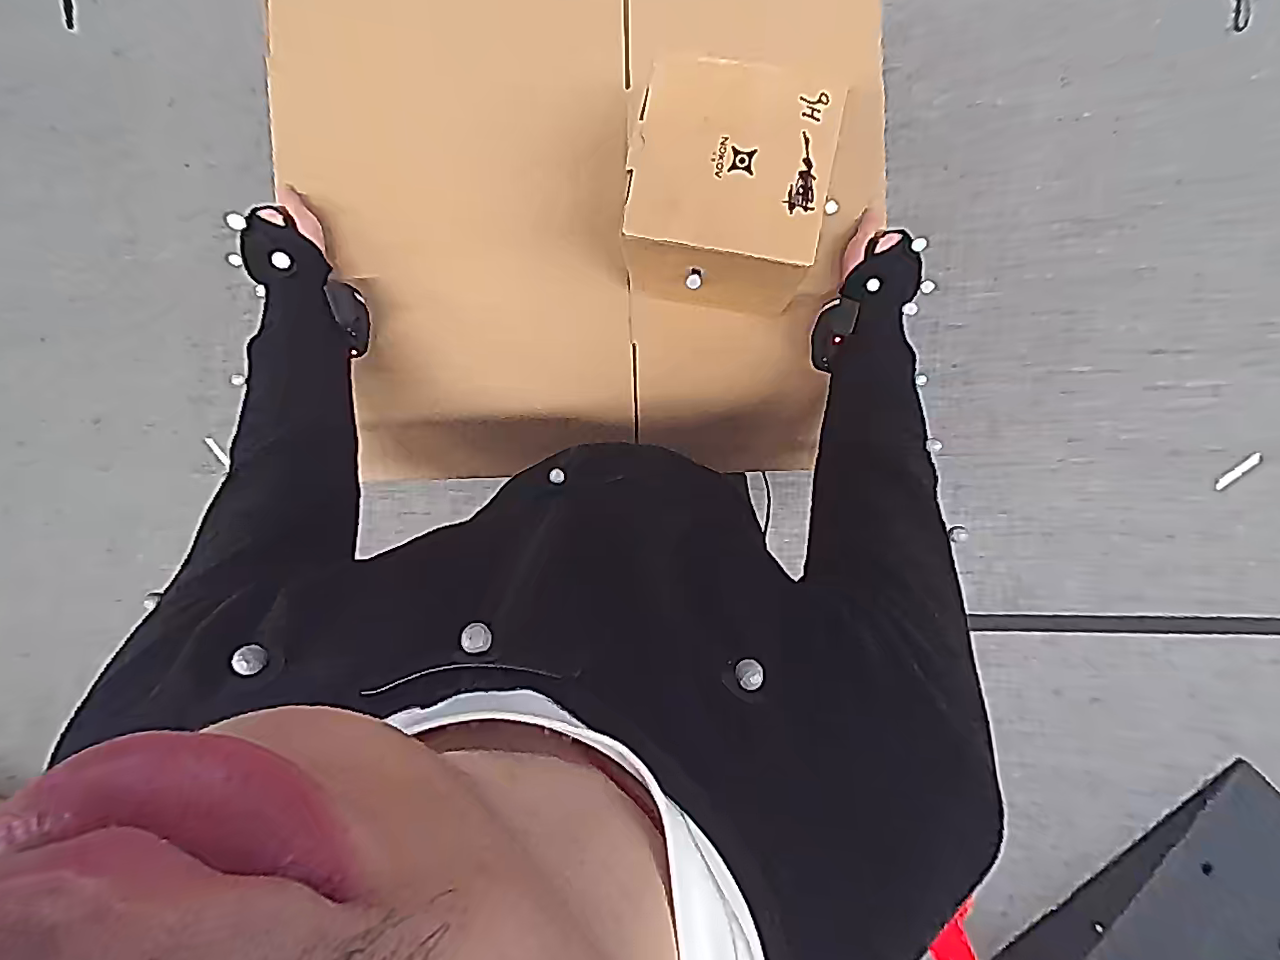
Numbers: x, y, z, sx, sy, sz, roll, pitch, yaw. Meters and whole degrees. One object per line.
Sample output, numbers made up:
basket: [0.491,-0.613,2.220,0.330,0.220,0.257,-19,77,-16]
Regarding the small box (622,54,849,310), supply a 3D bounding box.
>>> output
small box: [0.090,-0.289,0.562,0.179,0.176,0.168,11,93,4]
